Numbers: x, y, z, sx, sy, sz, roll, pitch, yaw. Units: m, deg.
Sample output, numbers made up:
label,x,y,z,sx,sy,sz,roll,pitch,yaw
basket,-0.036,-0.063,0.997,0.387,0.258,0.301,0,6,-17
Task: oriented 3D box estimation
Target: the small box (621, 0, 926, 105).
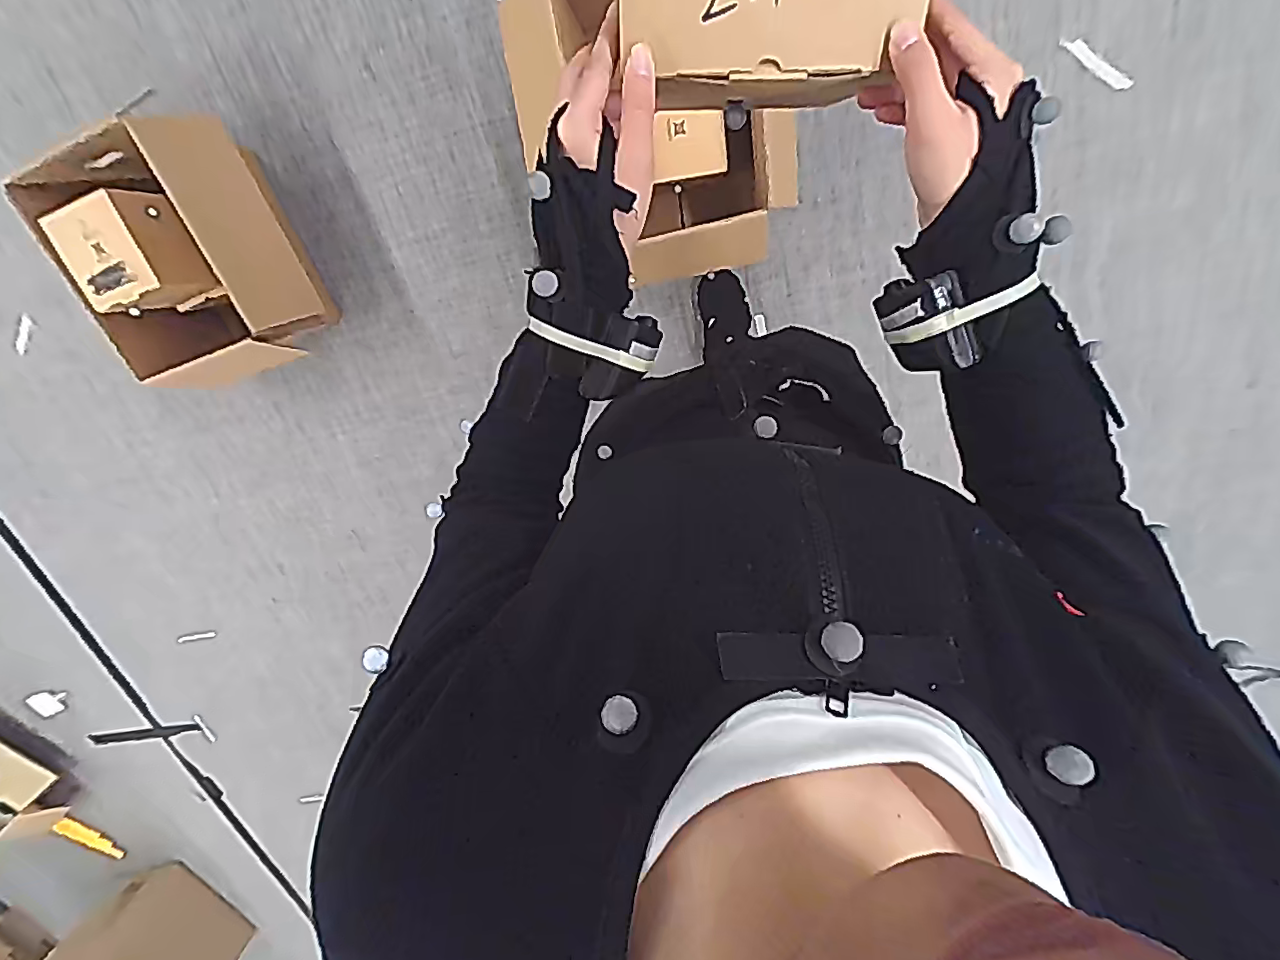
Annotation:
label,x,y,z,sx,sy,sz,roll,pitch,yaw
small box,0.070,-0.347,0.331,0.168,0.176,0.179,-1,119,1
